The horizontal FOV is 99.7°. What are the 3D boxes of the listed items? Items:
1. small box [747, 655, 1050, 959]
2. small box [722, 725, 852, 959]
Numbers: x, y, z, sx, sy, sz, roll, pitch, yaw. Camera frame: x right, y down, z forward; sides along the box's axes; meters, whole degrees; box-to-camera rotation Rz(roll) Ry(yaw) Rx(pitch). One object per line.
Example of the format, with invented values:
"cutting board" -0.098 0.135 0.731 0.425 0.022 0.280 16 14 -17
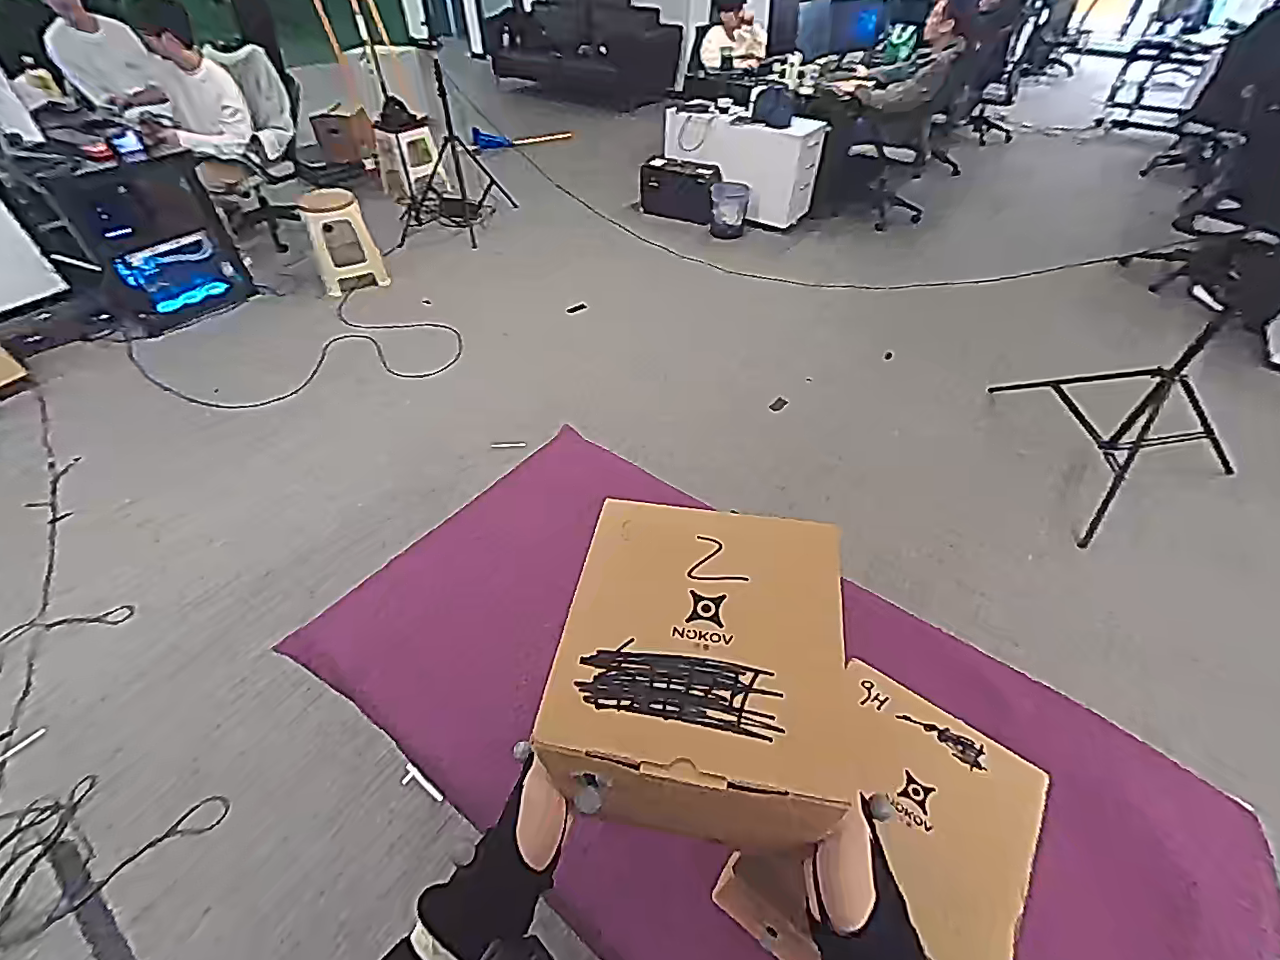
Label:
"small box" 0.208 0.299 0.471 0.168 0.176 0.179 29 52 25
"small box" 0.202 0.416 0.587 0.168 0.176 0.179 29 51 25
